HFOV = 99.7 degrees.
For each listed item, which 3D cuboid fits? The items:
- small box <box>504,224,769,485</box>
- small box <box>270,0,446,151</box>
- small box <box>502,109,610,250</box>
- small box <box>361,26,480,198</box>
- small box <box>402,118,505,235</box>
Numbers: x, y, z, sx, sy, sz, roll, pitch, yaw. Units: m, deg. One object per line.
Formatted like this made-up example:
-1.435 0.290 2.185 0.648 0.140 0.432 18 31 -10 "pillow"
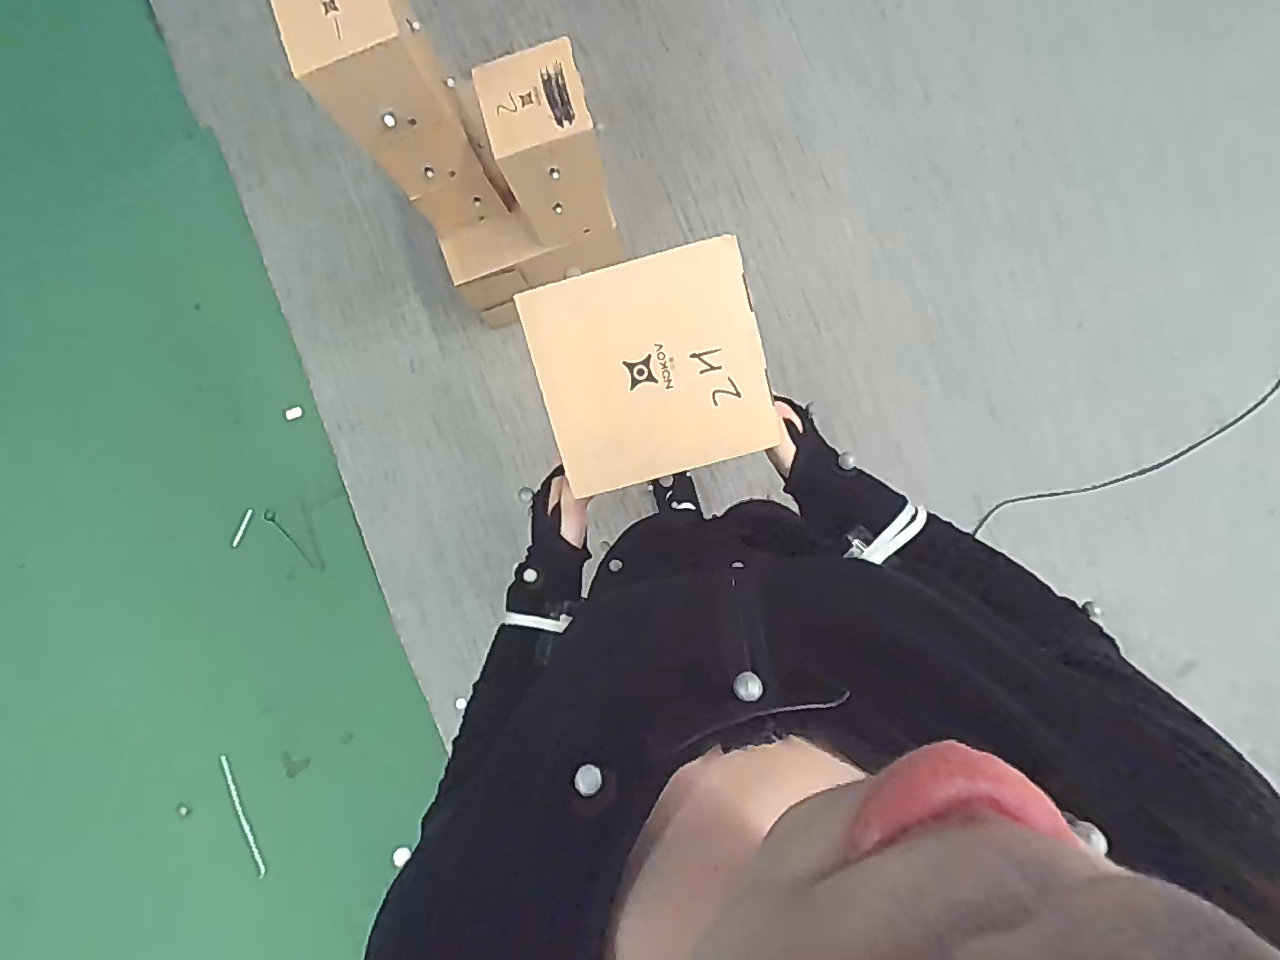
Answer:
0.000 -0.103 0.494 0.179 0.176 0.168 -15 99 2 "small box"
-0.431 -0.665 0.842 0.168 0.176 0.179 -18 87 4 "small box"
-0.170 -0.625 1.143 0.168 0.176 0.179 -17 85 4 "small box"
-0.422 -0.671 1.006 0.168 0.176 0.179 -19 88 4 "small box"
-0.411 -0.659 1.168 0.168 0.176 0.179 -18 85 4 "small box"
